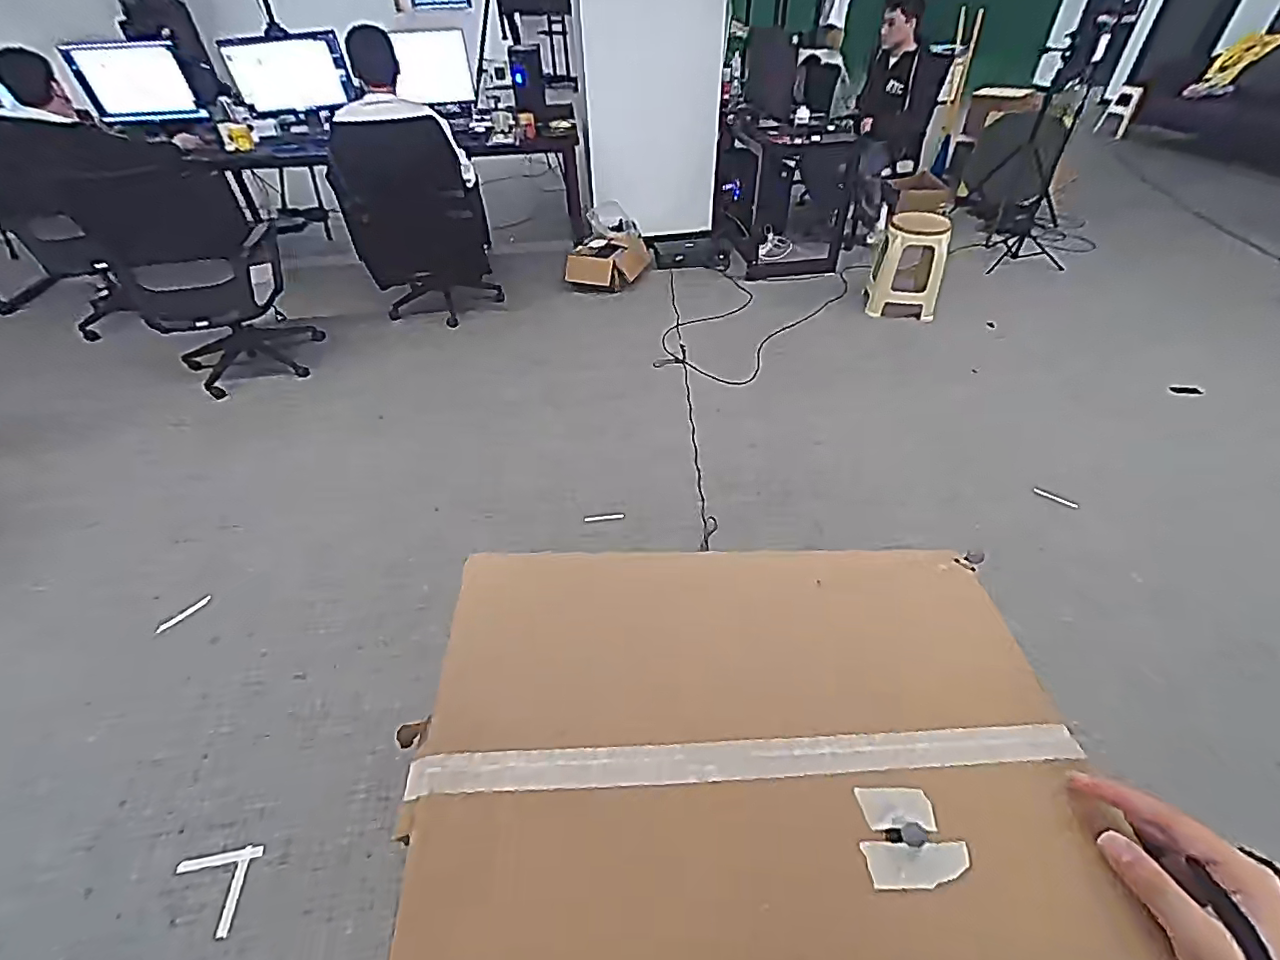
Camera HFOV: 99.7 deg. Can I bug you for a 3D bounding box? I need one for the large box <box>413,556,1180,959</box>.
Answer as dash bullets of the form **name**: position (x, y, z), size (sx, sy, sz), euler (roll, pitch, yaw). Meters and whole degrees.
- **large box**: position (0.065, 0.279, 0.444), size (0.408, 0.320, 0.320), euler (0, 46, -7)
